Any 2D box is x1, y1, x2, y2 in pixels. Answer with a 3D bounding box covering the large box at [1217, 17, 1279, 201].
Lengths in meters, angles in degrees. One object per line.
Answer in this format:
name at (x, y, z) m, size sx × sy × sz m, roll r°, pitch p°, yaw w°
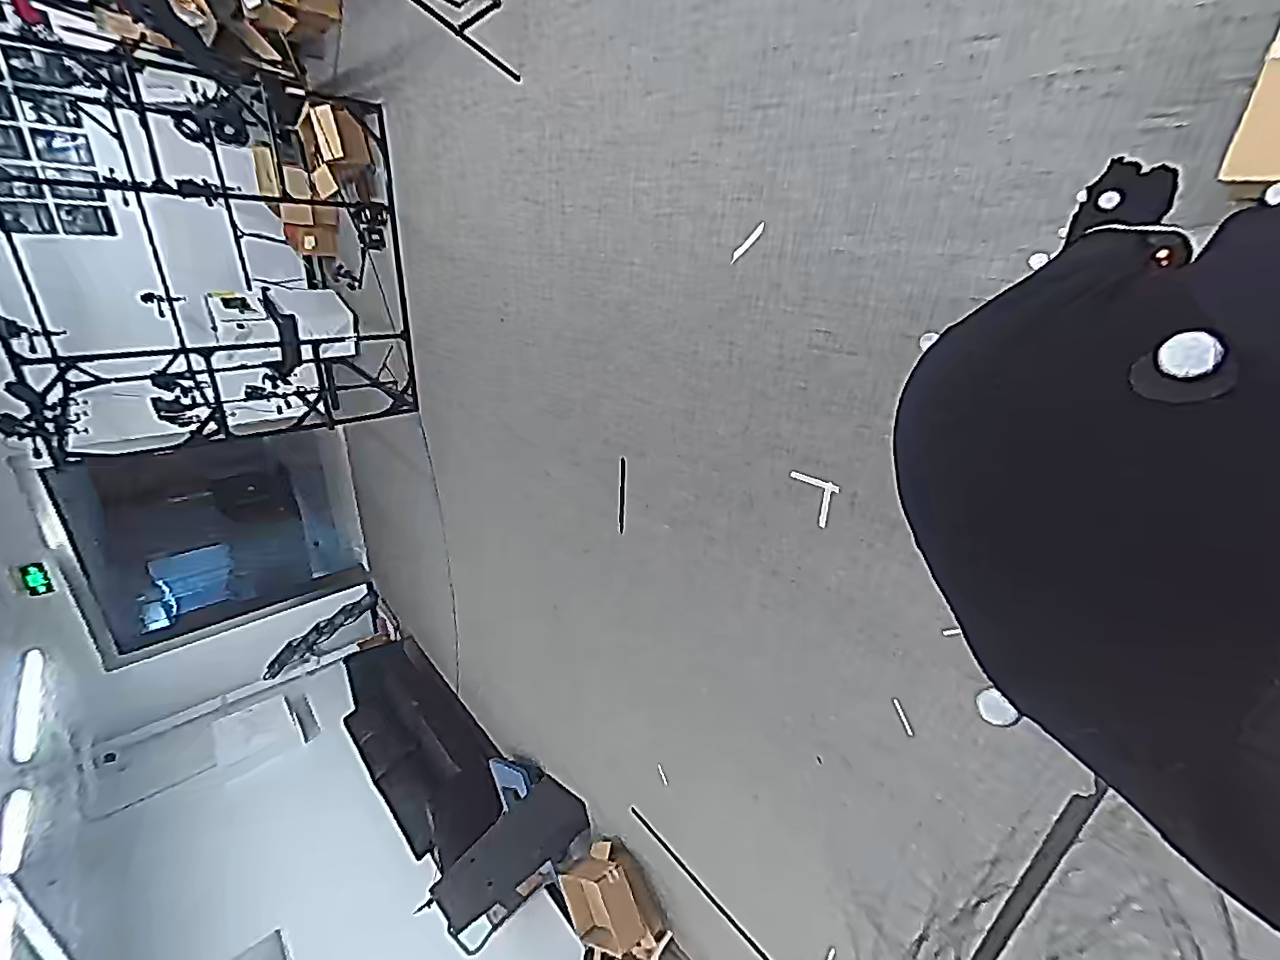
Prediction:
large box at (1.084, -0.548, 0.693) m, size 0.408 × 0.320 × 0.320 m, roll 26°, pitch 123°, yaw 40°
